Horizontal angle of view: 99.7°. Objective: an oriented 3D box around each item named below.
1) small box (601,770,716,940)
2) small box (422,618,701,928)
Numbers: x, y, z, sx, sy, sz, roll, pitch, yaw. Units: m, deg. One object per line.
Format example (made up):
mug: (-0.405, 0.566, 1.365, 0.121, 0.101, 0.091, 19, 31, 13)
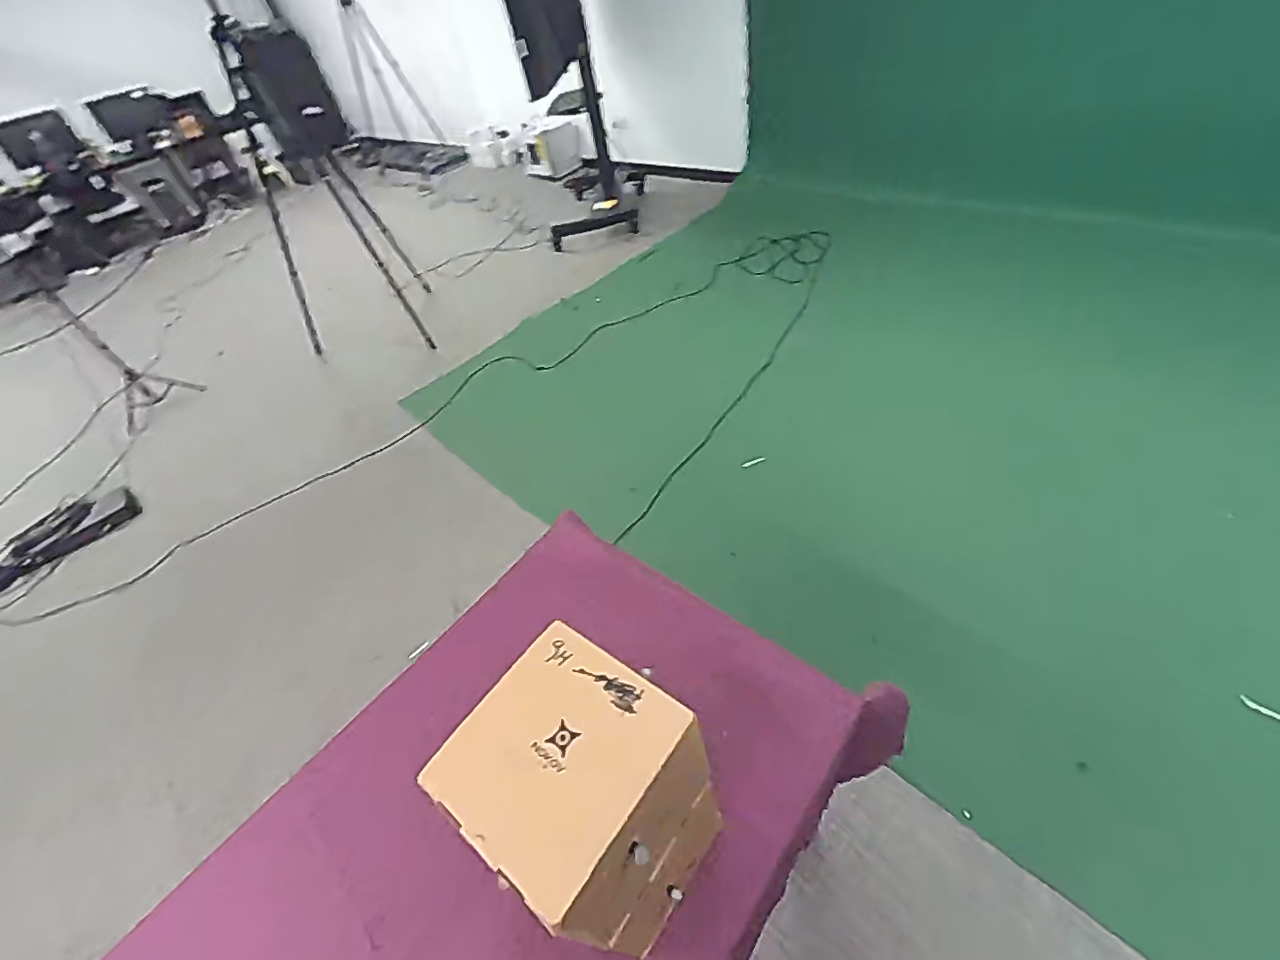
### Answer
small box: (-0.030, 0.386, 0.624, 0.179, 0.176, 0.168, 24, 56, 31)
small box: (-0.056, 0.273, 0.507, 0.168, 0.176, 0.179, 24, 57, 31)
